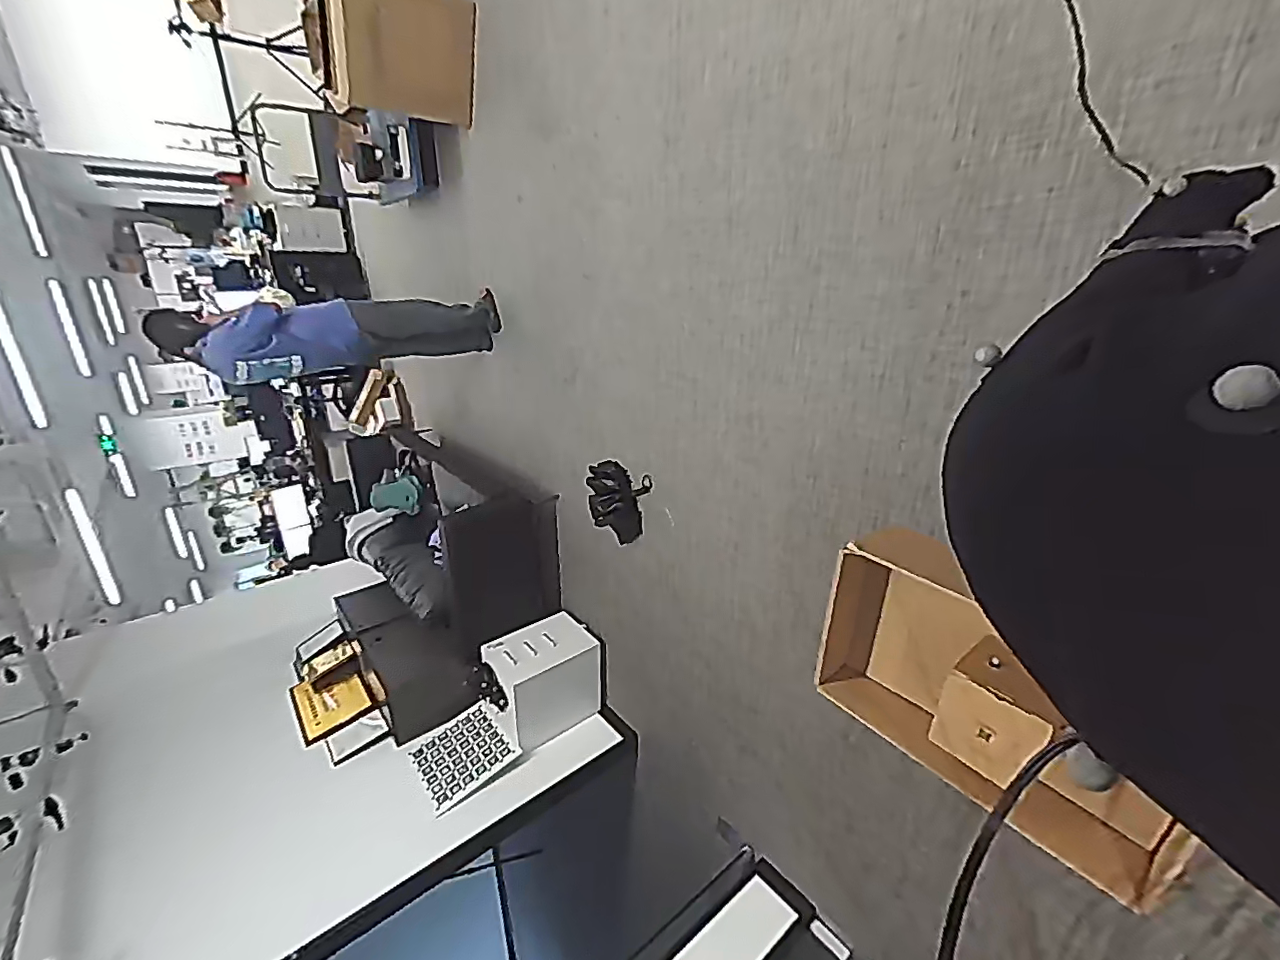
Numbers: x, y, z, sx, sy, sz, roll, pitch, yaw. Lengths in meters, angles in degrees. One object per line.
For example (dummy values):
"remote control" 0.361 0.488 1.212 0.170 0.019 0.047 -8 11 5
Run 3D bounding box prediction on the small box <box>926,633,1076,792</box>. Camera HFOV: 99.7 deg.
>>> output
"small box" 0.668 0.416 1.001 0.168 0.176 0.179 28 127 47
